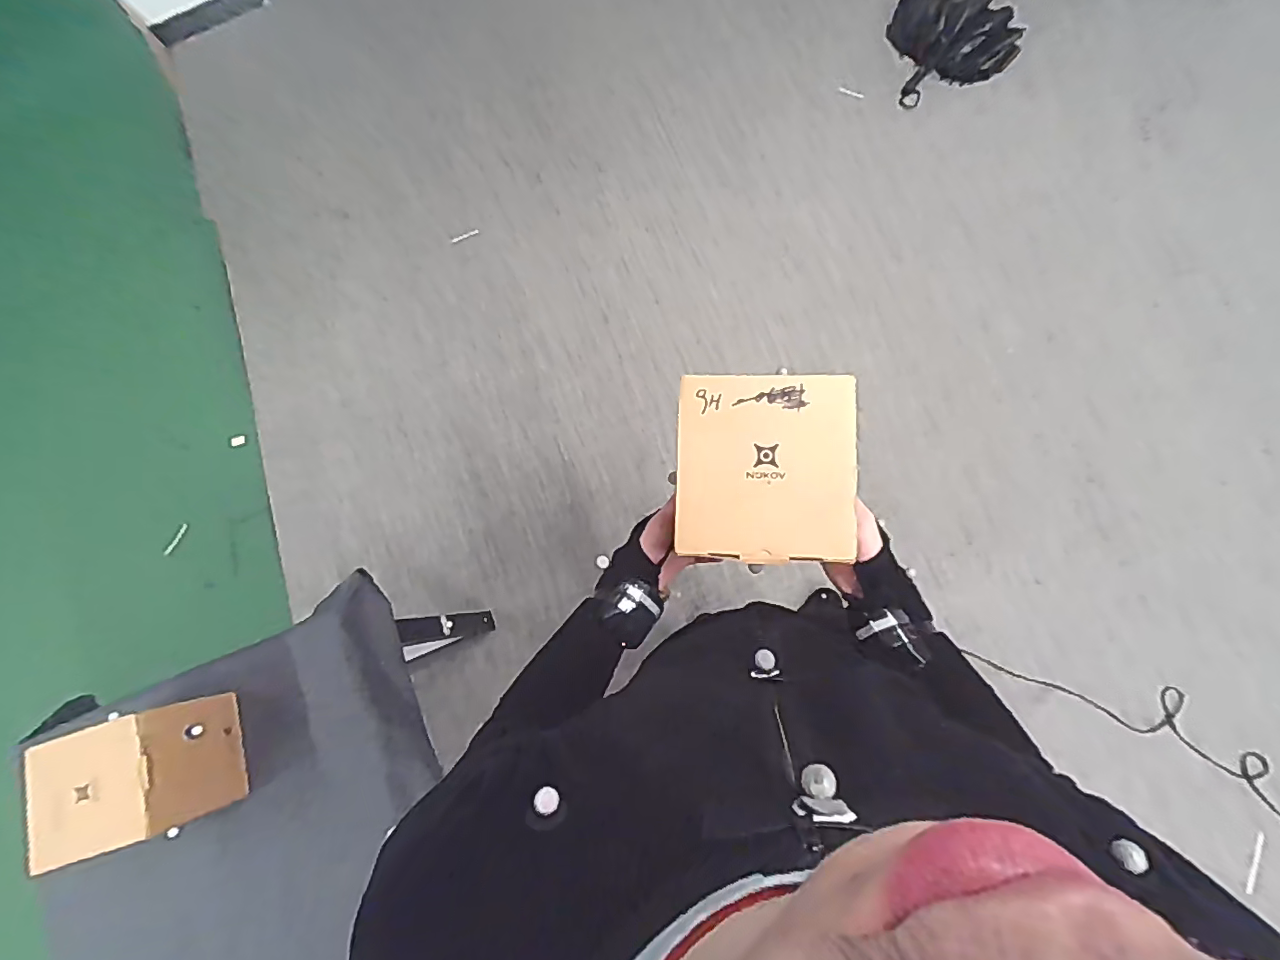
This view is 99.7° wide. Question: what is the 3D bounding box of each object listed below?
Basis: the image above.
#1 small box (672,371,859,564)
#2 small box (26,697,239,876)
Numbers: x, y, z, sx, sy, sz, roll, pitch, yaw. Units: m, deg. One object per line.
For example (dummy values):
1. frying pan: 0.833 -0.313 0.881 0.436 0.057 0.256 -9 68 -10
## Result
1. small box: 0.124 -0.006 0.574 0.168 0.176 0.179 2 83 7
2. small box: -0.740 0.440 0.808 0.179 0.176 0.168 -20 75 3
